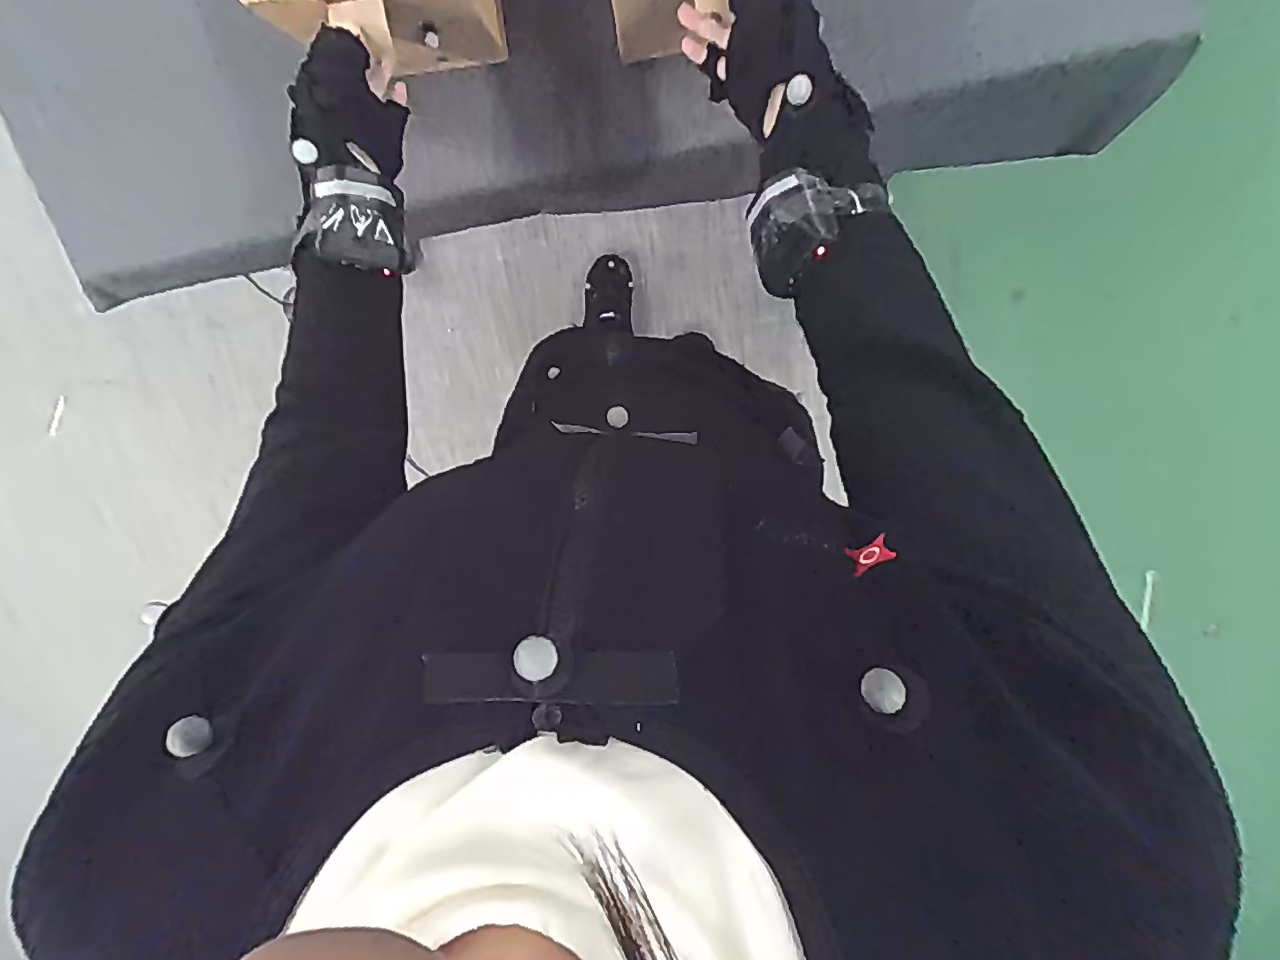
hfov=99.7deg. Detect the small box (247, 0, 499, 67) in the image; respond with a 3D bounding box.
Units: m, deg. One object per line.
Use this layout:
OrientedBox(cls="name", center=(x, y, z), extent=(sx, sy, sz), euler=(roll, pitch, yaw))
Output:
OrientedBox(cls="small box", center=(-0.229, -0.478, 0.451), extent=(0.168, 0.176, 0.179), euler=(-5, 108, 3))
